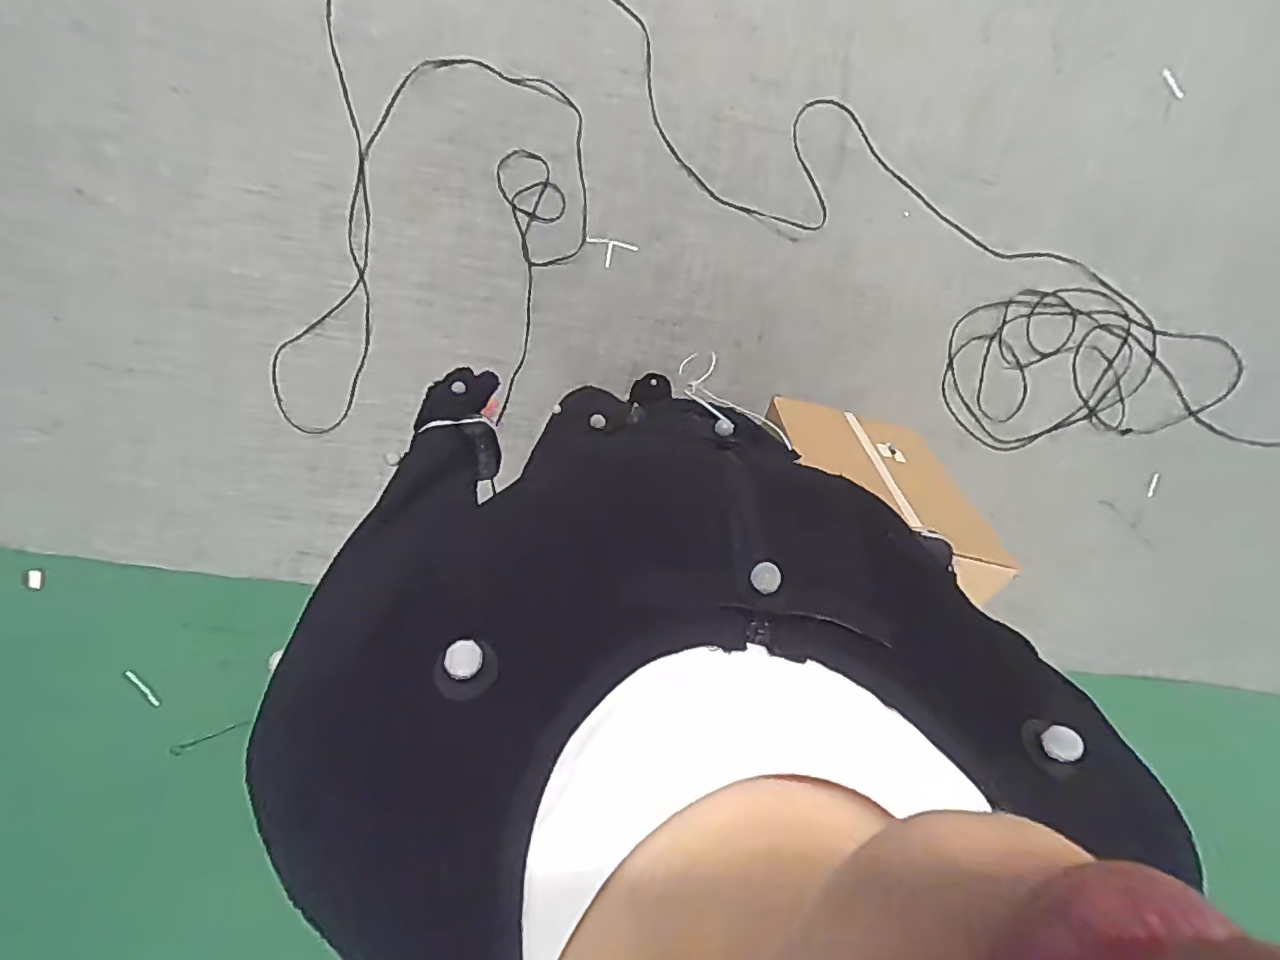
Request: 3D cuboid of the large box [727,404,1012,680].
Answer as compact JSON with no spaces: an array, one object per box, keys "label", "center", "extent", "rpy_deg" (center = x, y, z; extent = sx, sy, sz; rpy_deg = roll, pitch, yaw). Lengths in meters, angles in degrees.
[{"label":"large box","center":[0.378,0.108,1.031],"extent":[0.320,0.408,0.320],"rpy_deg":[12,124,-7]}]
